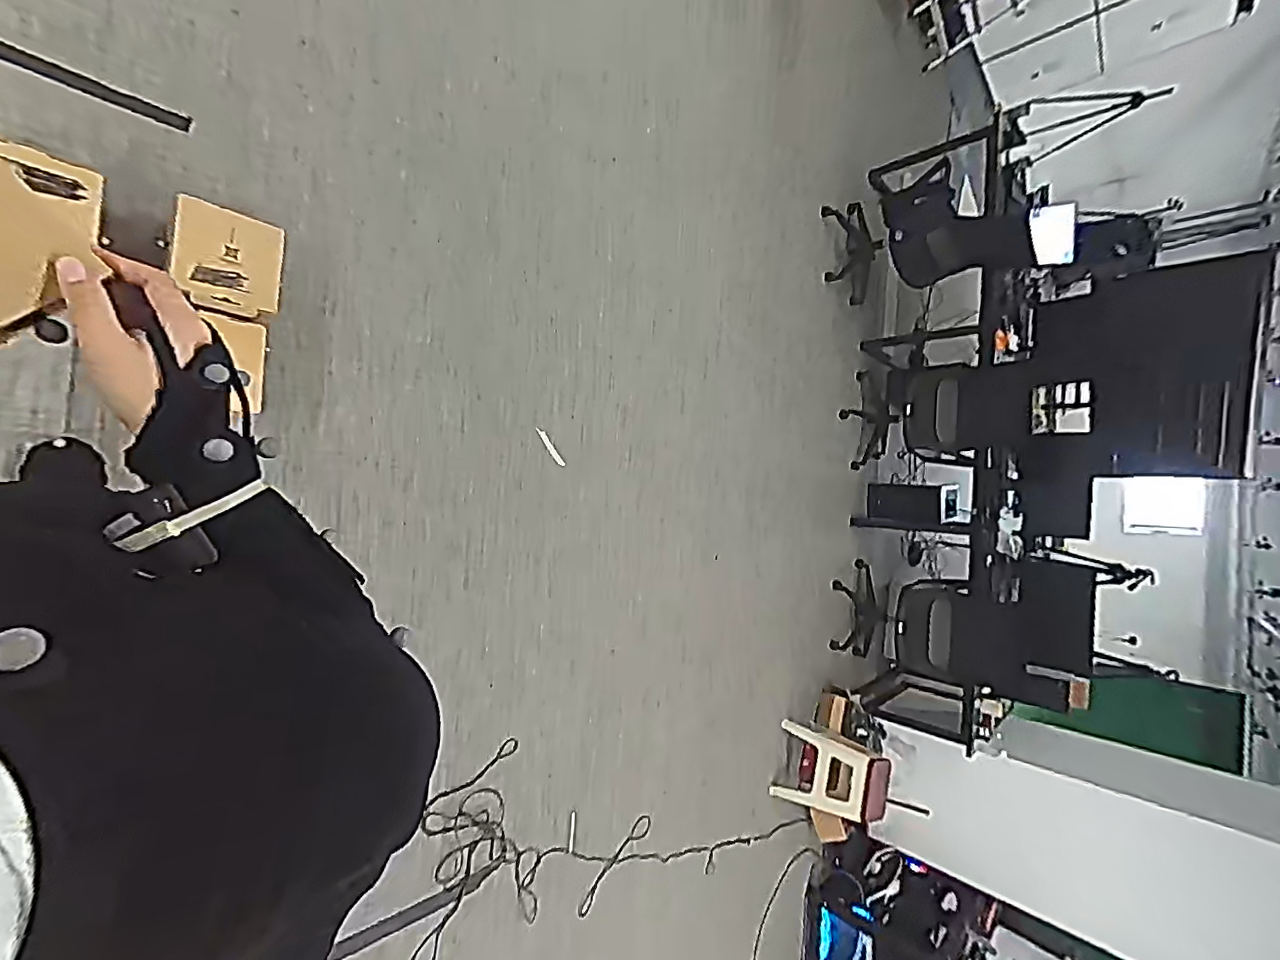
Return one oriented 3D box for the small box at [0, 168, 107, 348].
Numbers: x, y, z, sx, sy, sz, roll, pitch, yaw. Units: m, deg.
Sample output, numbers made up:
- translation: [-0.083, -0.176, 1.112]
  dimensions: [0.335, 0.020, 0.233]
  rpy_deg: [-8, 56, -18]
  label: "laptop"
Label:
- translation: [-0.456, -0.132, 0.288]
  dimensions: [0.179, 0.176, 0.168]
  rpy_deg: [-51, 131, -29]
  label: "small box"
